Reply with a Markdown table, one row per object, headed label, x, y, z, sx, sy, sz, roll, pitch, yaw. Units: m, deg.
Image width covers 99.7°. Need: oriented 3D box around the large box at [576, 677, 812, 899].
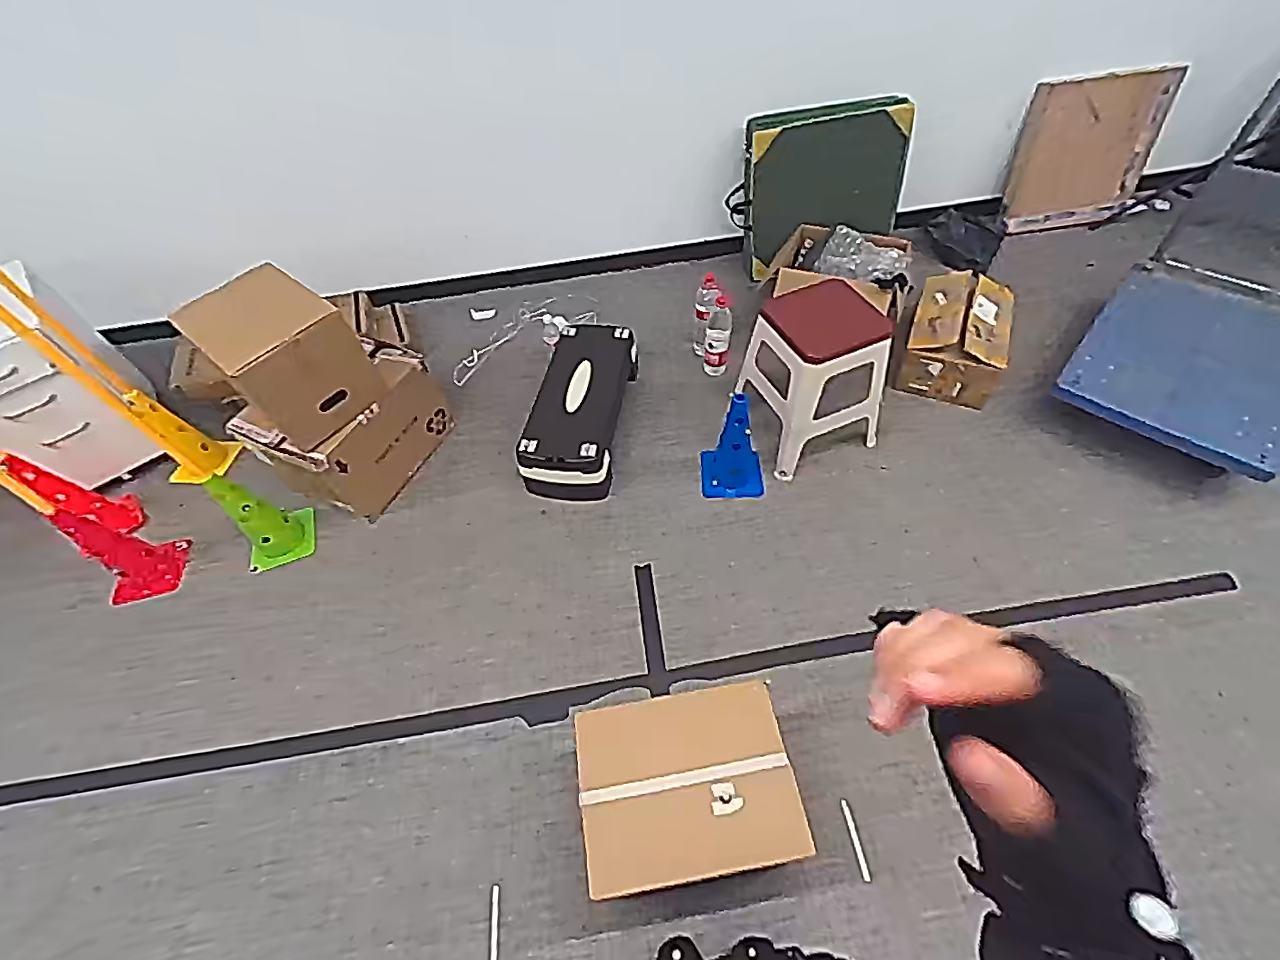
| label | x | y | z | sx | sy | sz | roll | pitch | yaw |
| --- | --- | --- | --- | --- | --- | --- | --- | --- | --- |
| large box | 0.094 | 0.658 | 1.151 | 0.408 | 0.320 | 0.320 | -9 | 54 | -4 |
